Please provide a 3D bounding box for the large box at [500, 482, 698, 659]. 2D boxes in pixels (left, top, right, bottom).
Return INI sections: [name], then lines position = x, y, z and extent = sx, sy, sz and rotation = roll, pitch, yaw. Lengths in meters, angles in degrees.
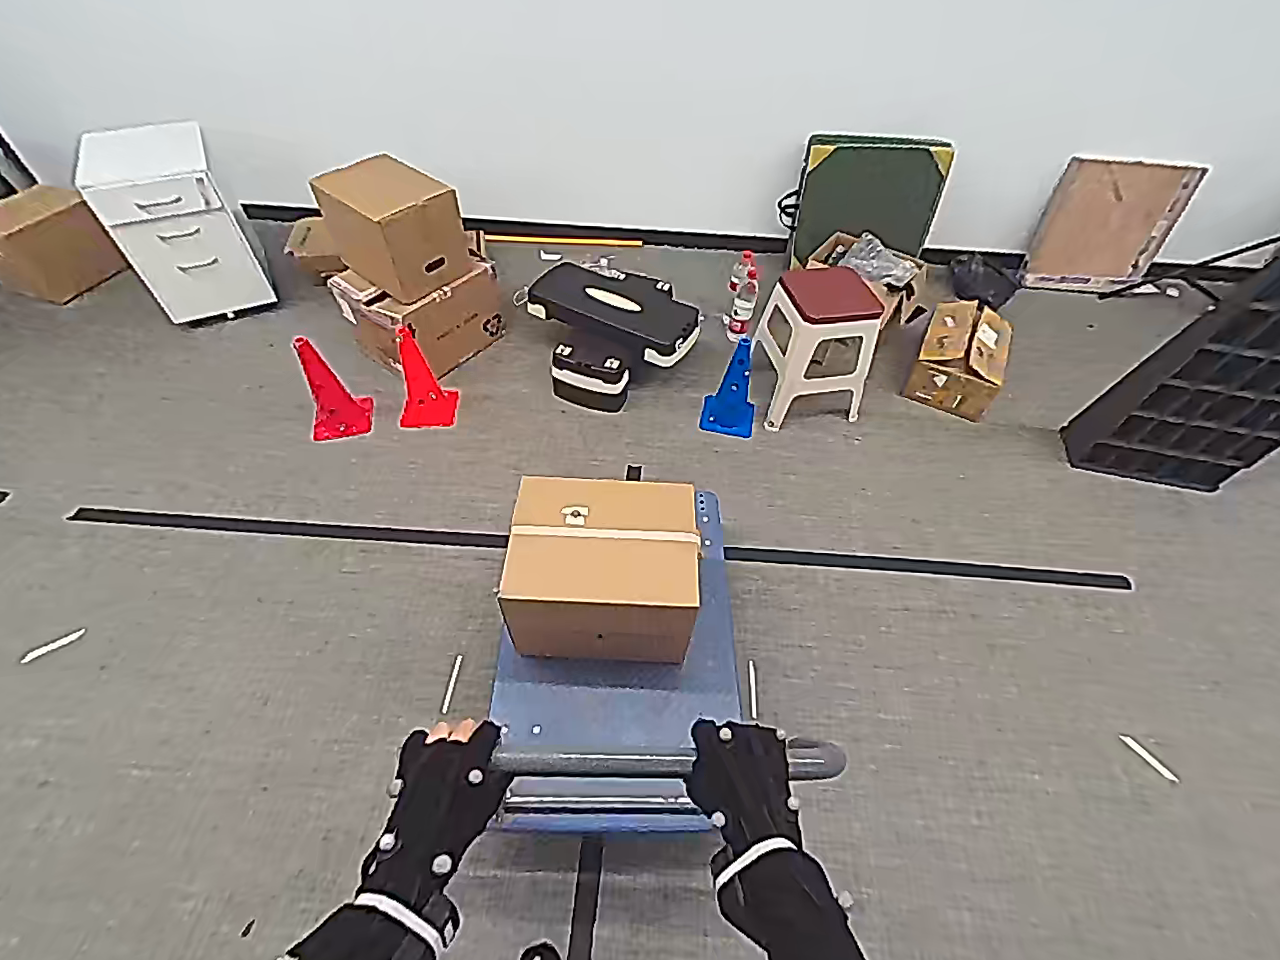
[large box]
position = -0.082, 0.222, 1.287
extent = 0.408, 0.320, 0.320
rotation = 3, 51, 0
